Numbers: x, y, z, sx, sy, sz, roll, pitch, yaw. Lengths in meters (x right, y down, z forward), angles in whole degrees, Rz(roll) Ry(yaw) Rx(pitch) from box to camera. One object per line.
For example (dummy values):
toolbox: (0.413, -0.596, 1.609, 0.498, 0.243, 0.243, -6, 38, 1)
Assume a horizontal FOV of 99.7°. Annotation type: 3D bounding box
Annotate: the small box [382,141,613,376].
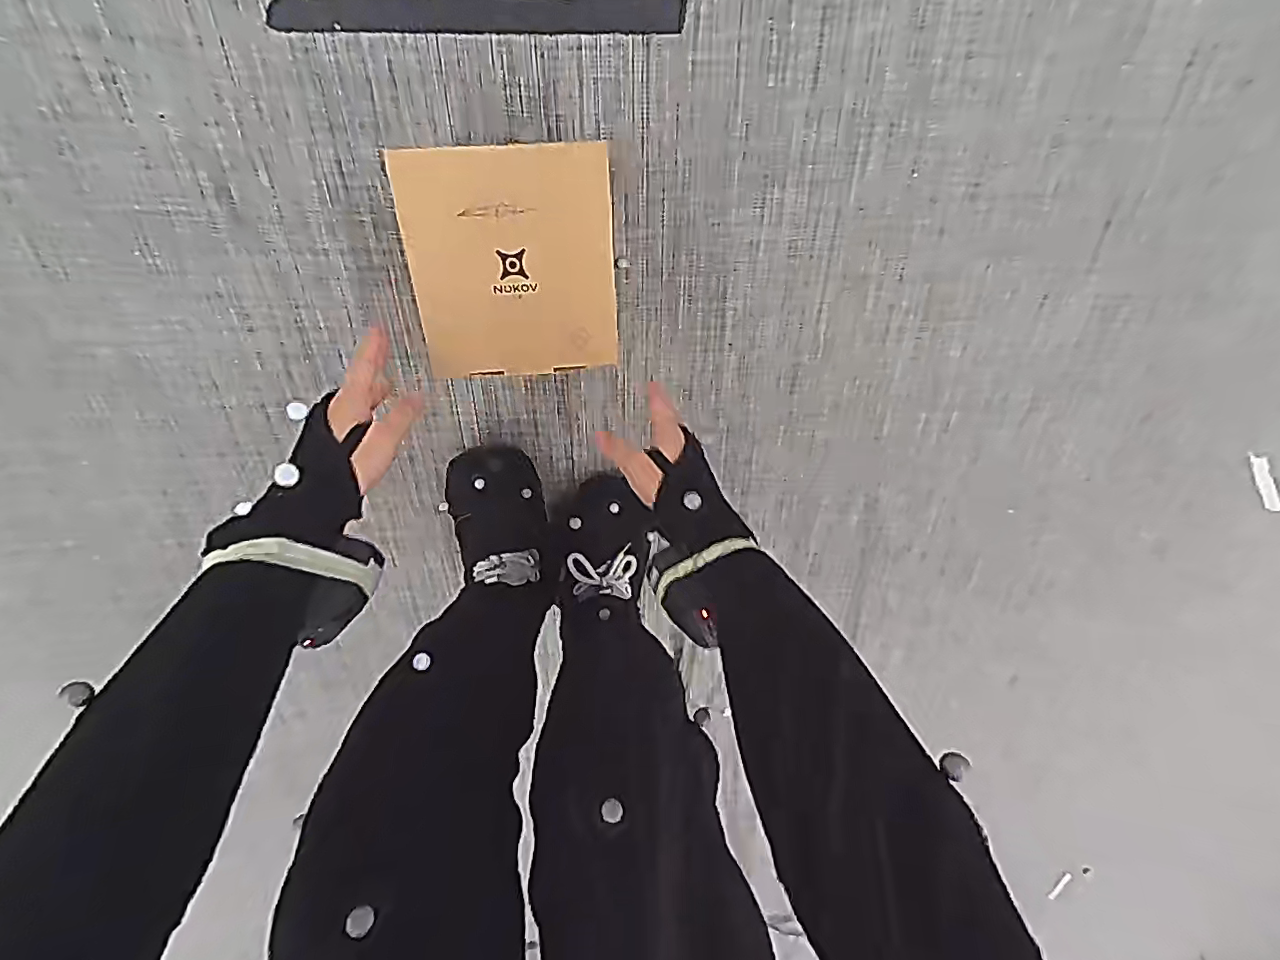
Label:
small box: (-0.114, -0.213, 0.511, 0.168, 0.176, 0.179, -6, 119, -5)
